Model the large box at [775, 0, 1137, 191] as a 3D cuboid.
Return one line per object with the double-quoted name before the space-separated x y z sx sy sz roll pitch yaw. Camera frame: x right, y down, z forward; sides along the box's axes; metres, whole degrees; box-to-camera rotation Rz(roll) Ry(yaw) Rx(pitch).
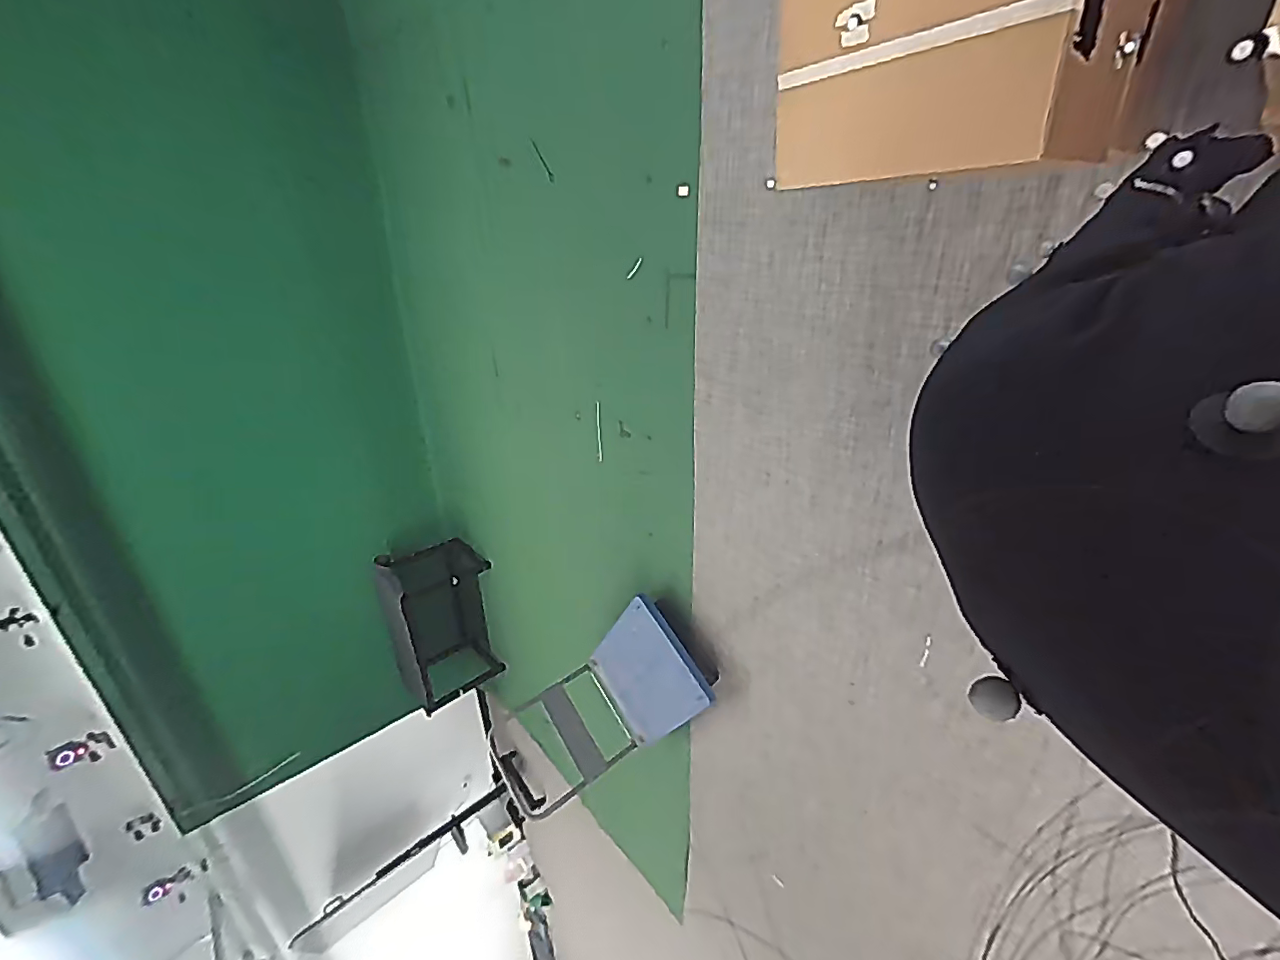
"large box" 0.470 -0.648 0.836 0.408 0.320 0.320 24 127 45
